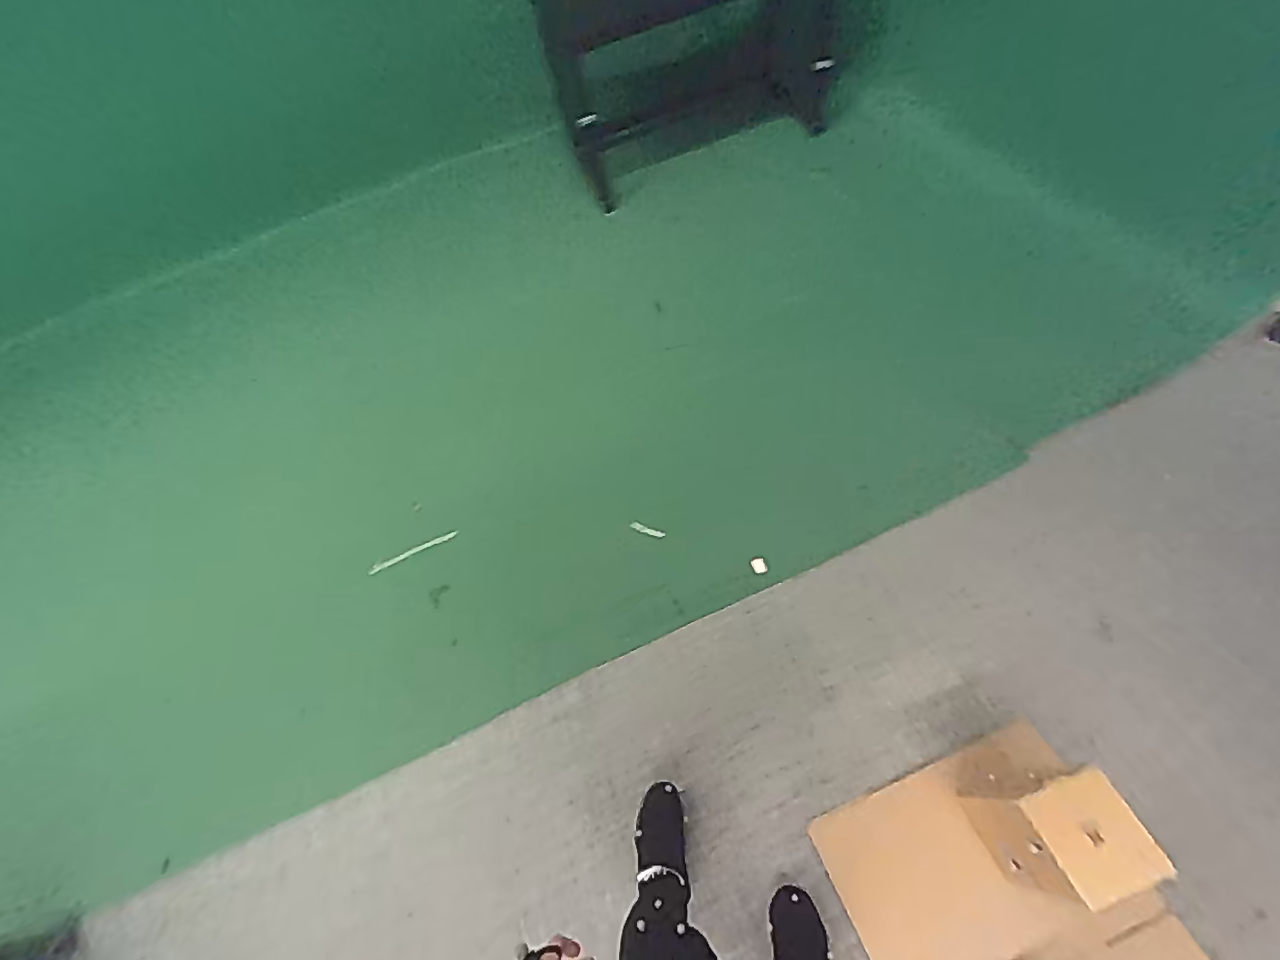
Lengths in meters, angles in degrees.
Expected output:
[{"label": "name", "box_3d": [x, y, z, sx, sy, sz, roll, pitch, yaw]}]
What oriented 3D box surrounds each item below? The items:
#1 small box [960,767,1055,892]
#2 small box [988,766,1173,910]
[{"label": "small box", "box_3d": [0.832, 0.737, 1.157, 0.168, 0.176, 0.179, -22, 58, -3]}, {"label": "small box", "box_3d": [0.808, 0.661, 1.016, 0.168, 0.176, 0.179, -23, 57, -2]}]
